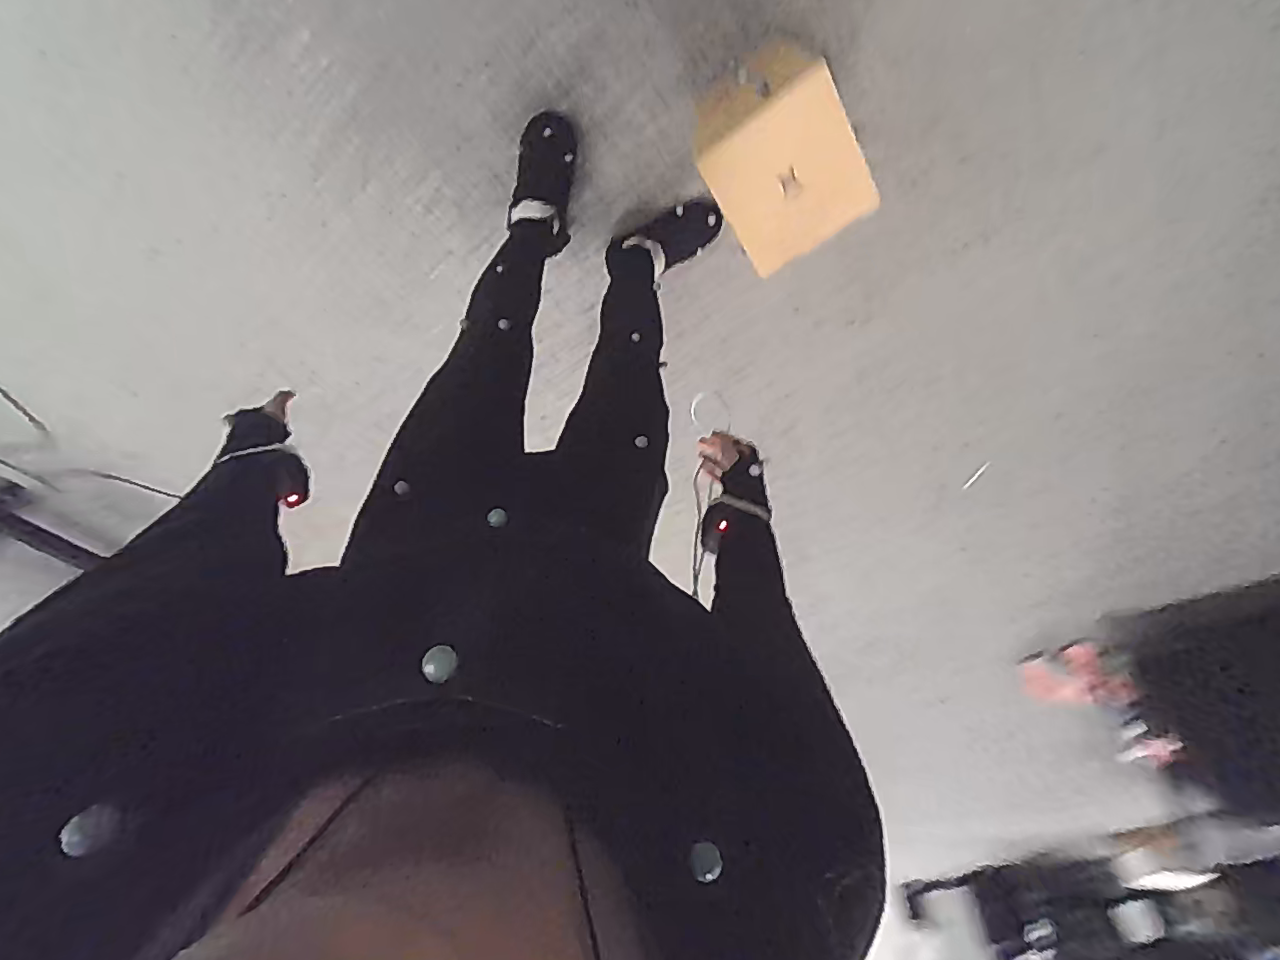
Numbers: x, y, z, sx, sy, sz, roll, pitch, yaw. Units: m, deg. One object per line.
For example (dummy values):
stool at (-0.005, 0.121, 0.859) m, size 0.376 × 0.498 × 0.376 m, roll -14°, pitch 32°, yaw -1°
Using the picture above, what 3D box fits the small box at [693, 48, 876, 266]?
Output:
small box at (0.180, -0.428, 0.715) m, size 0.168 × 0.176 × 0.179 m, roll -27°, pitch 126°, yaw 24°
